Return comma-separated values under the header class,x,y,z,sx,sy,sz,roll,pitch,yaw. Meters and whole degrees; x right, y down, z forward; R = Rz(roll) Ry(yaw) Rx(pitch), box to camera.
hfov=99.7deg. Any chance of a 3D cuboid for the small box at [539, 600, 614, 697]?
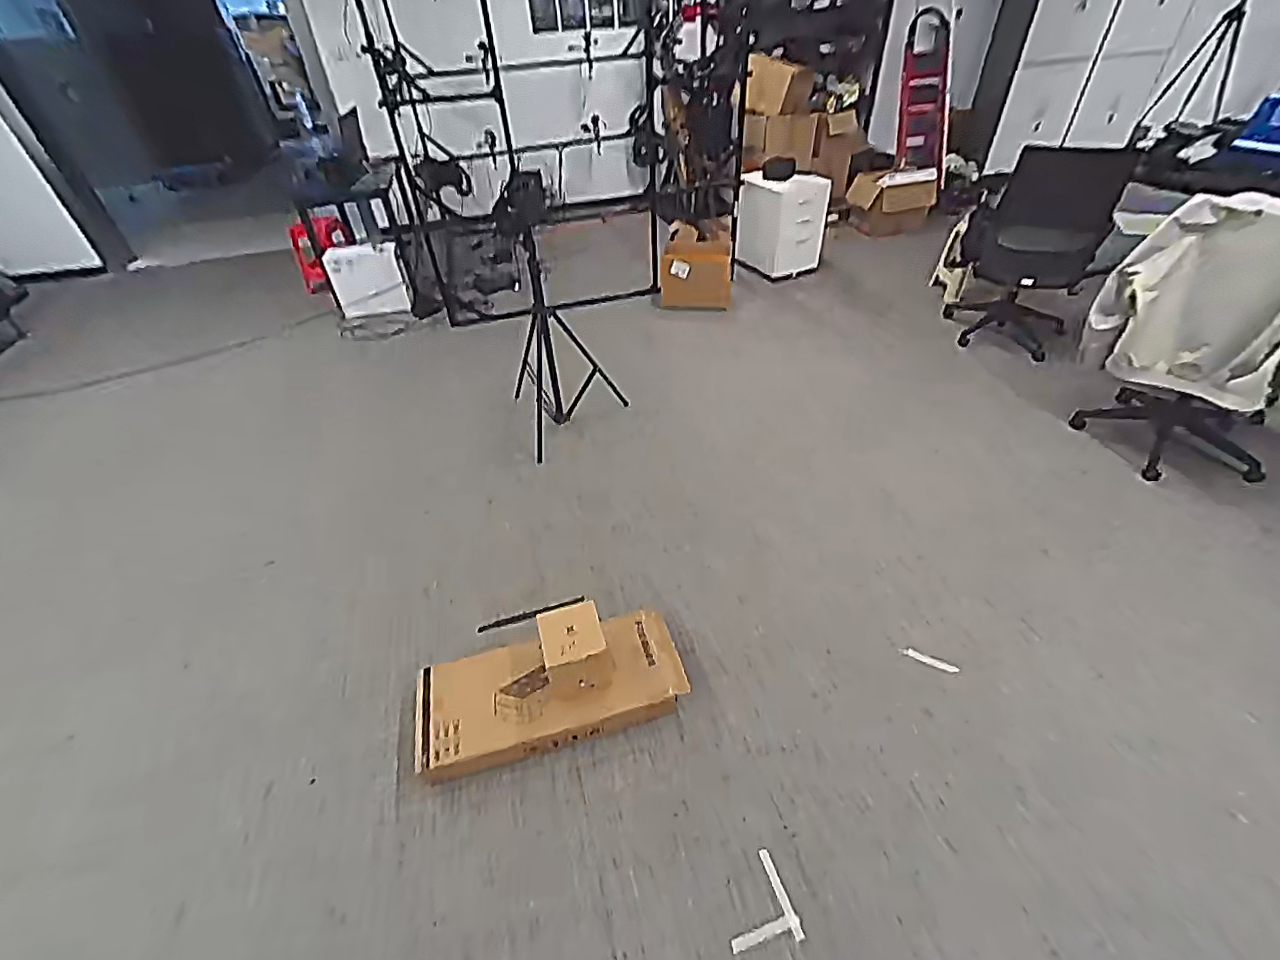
class,x,y,z,sx,sy,sz,roll,pitch,yaw
small box,-0.177,0.470,1.508,0.168,0.176,0.179,-14,41,-10
